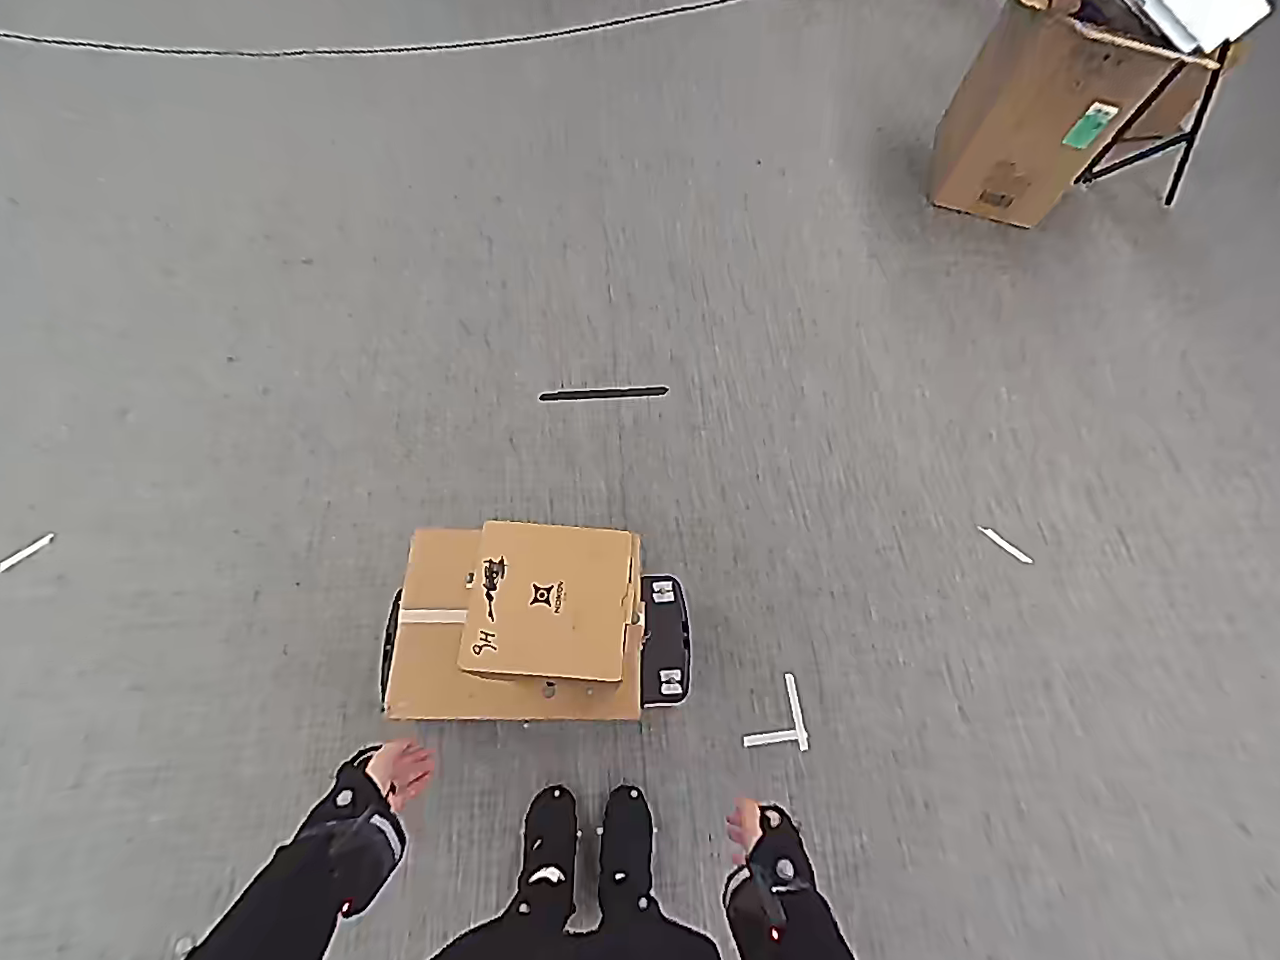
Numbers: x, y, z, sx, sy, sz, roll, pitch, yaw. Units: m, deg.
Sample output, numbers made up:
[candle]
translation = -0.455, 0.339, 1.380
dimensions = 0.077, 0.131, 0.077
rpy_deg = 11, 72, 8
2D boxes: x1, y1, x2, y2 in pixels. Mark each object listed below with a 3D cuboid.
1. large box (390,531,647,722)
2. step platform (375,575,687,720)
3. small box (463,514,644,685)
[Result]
[large box]
translation = -0.195, 0.290, 1.038
dimensions = 0.408, 0.320, 0.320
rpy_deg = 1, 66, -2
[step platform]
translation = -0.233, 0.388, 1.253
dimensions = 0.684, 0.204, 0.286
rpy_deg = 3, 66, -1
[small box]
translation = -0.094, 0.153, 0.657
dimensions = 0.179, 0.176, 0.168
rpy_deg = 6, 66, -2
